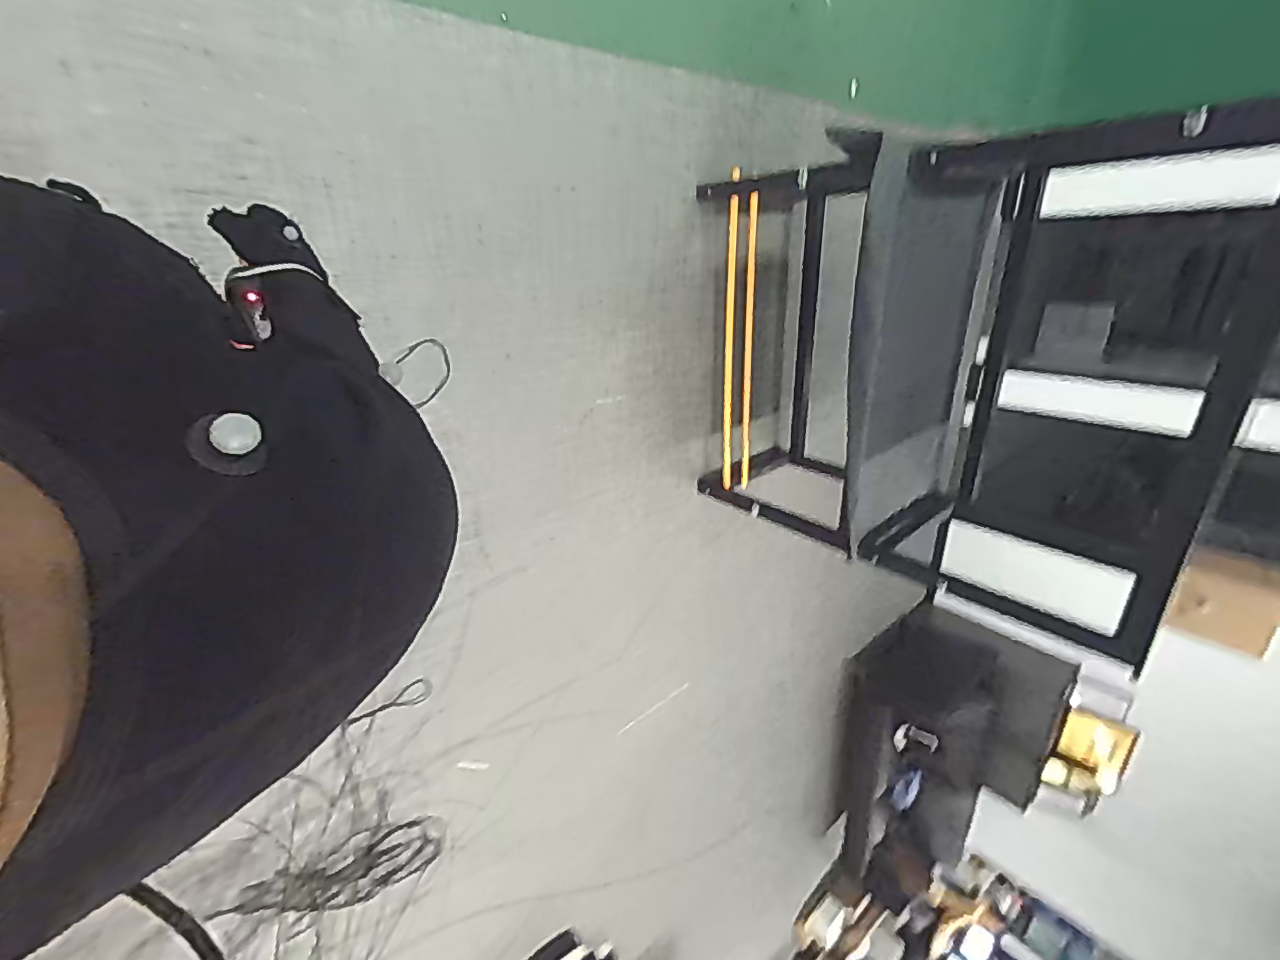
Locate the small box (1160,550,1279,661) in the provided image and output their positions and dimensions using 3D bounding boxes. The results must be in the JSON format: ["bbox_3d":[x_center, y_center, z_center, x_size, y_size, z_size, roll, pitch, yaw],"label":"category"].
[{"bbox_3d":[1.356,0.279,1.252,0.179,0.176,0.168,-14,115,-37],"label":"small box"}]
